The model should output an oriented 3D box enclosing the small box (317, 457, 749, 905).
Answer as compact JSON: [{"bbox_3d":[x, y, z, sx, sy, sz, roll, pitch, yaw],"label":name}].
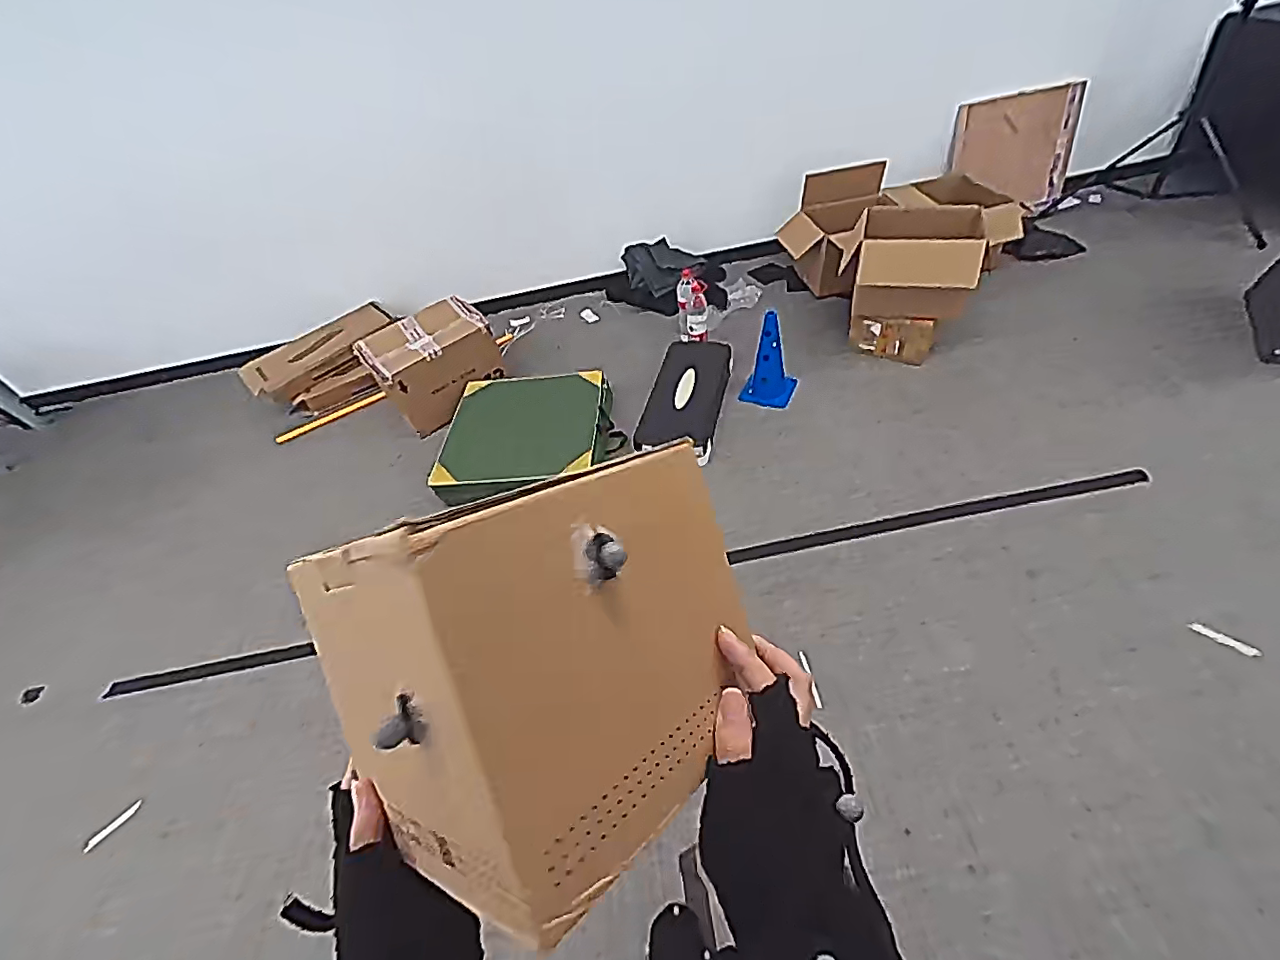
[{"bbox_3d":[-0.056,0.099,0.328,0.168,0.176,0.179,-15,1,42],"label":"small box"}]
